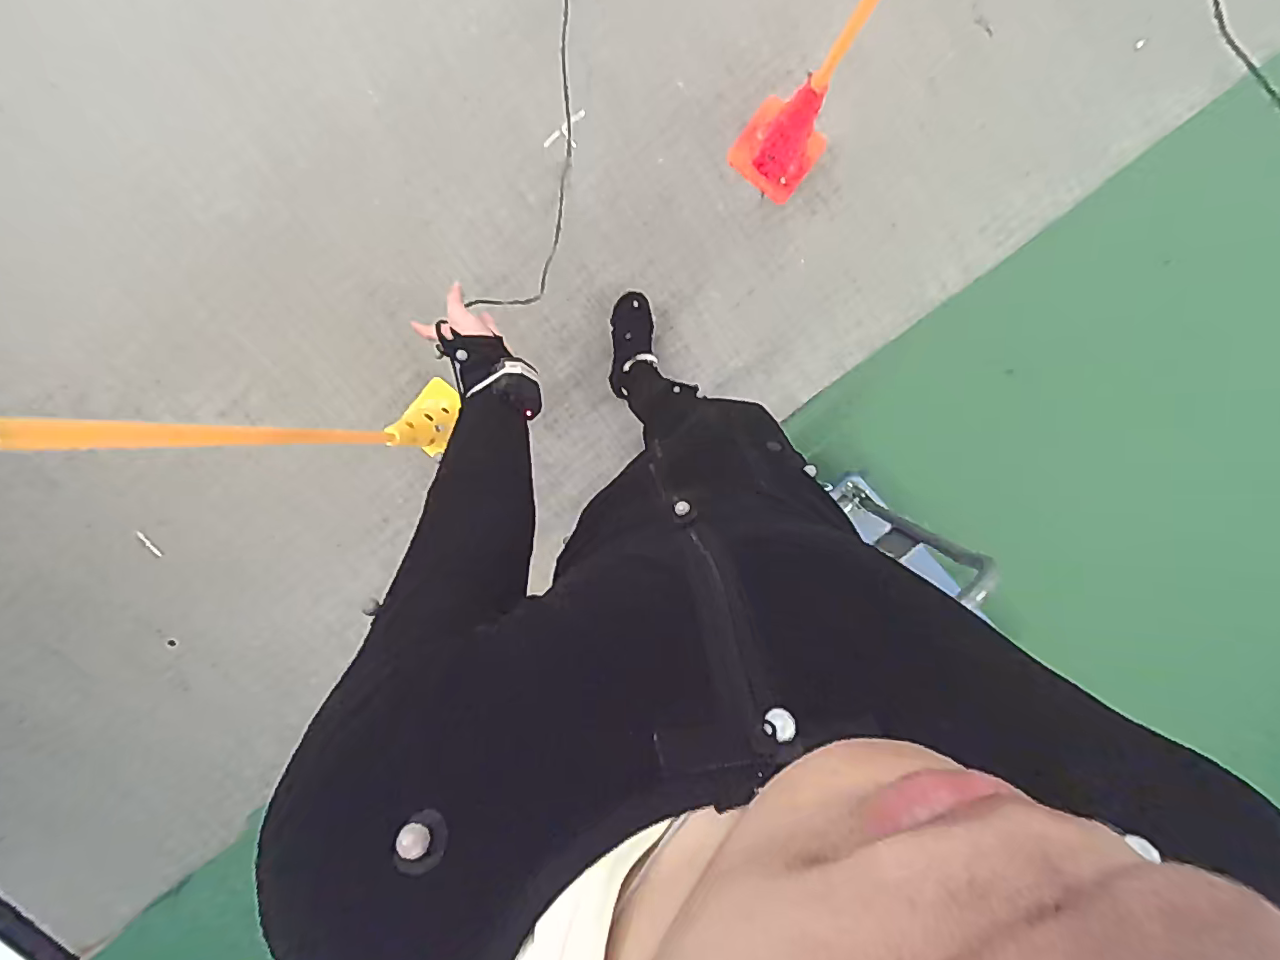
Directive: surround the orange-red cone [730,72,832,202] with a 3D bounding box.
[{"bbox_3d":[0.367,-0.838,1.263,0.198,0.360,0.199,37,98,-7],"label":"orange-red cone"}]
